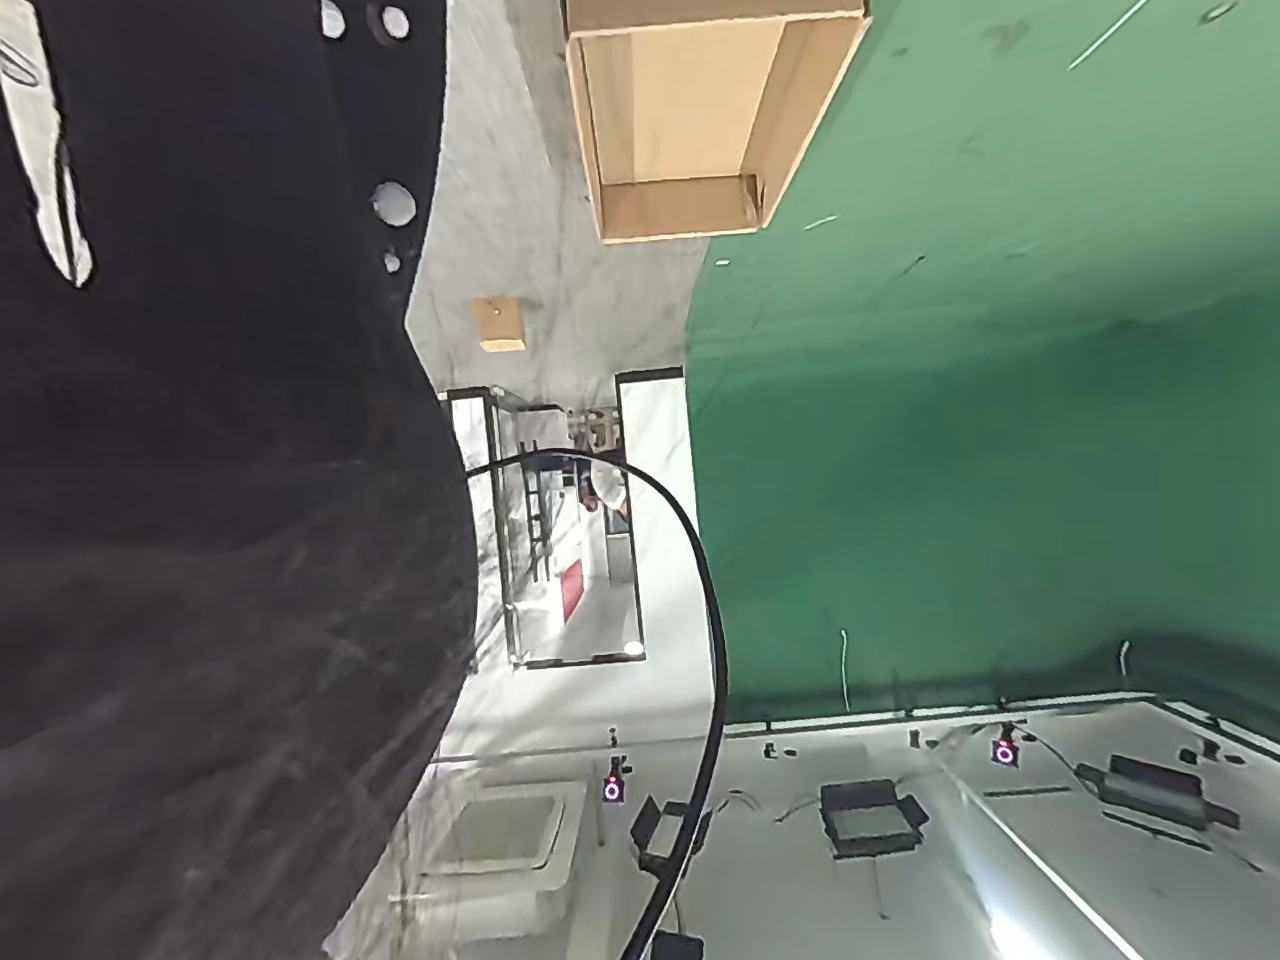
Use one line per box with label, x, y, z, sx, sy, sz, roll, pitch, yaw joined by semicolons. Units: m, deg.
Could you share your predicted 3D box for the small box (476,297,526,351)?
small box;-0.559;-0.630;2.185;0.168;0.176;0.179;-6;-179;-5
